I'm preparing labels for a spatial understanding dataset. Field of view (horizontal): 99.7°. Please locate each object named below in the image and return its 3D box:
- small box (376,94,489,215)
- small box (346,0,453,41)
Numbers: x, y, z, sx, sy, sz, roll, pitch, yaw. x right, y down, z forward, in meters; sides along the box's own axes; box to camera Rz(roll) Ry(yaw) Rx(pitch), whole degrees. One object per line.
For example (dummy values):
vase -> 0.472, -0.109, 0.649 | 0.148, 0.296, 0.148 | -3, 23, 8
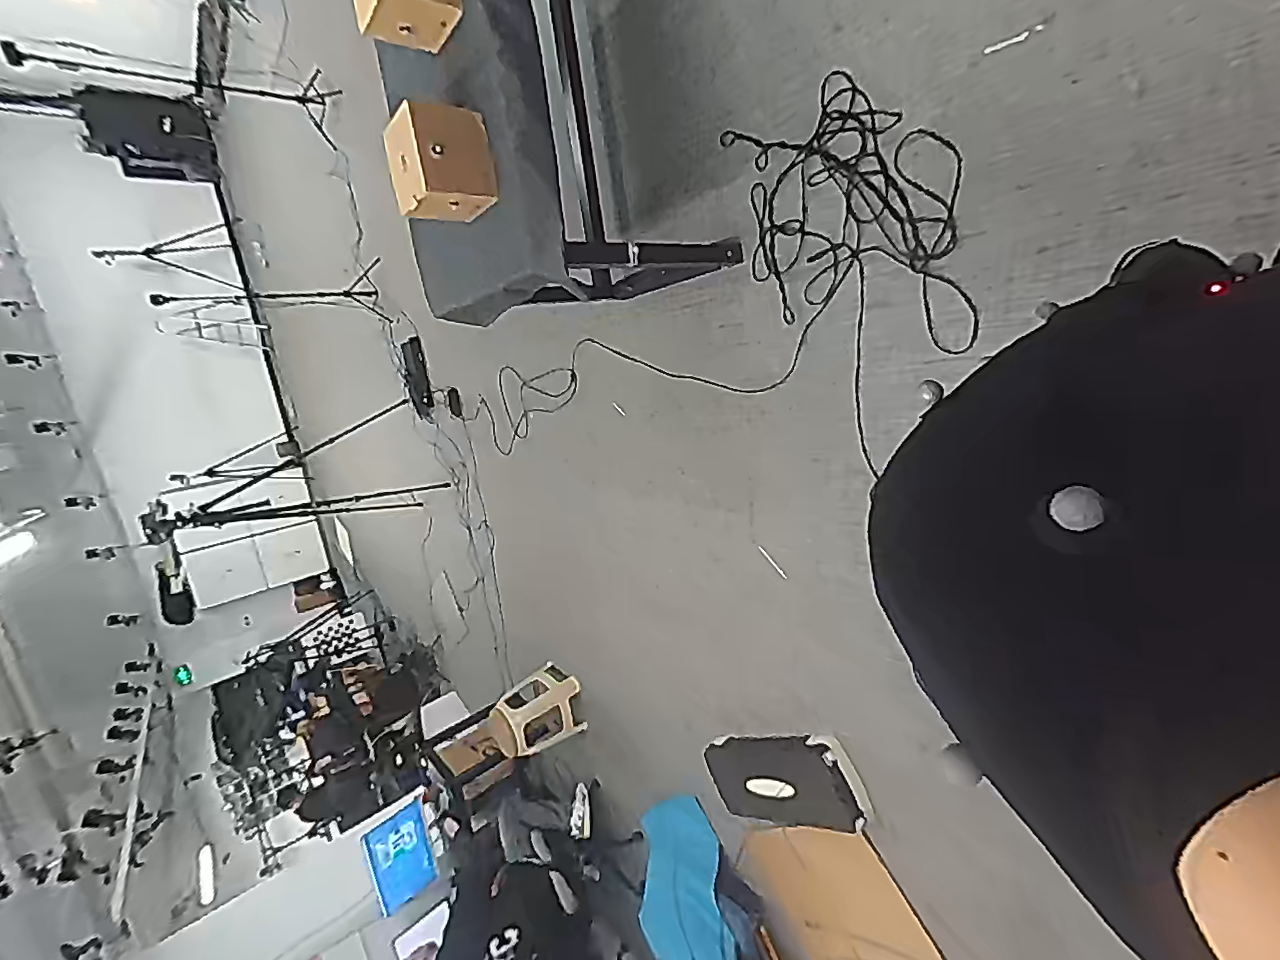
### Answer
small box -> -0.446, -0.692, 1.176 | 0.168, 0.176, 0.179 | 4, 106, 49
small box -> -0.498, -1.038, 1.100 | 0.168, 0.176, 0.179 | 6, 109, 49
